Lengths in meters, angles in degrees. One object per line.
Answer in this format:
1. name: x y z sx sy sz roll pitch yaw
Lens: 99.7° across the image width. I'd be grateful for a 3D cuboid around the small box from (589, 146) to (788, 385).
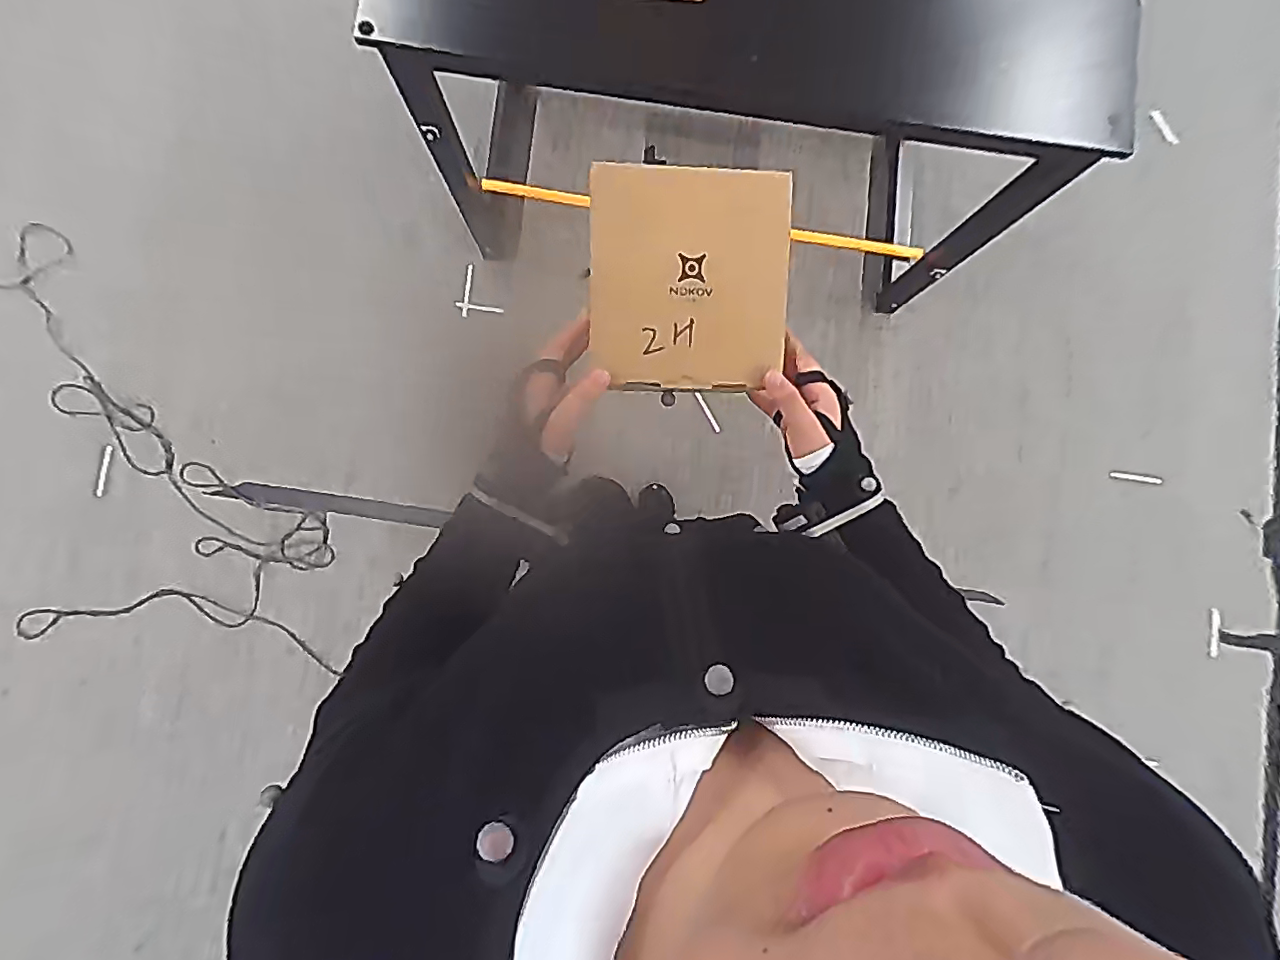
1. small box: 0.034 -0.188 0.526 0.168 0.176 0.179 0 97 -4
